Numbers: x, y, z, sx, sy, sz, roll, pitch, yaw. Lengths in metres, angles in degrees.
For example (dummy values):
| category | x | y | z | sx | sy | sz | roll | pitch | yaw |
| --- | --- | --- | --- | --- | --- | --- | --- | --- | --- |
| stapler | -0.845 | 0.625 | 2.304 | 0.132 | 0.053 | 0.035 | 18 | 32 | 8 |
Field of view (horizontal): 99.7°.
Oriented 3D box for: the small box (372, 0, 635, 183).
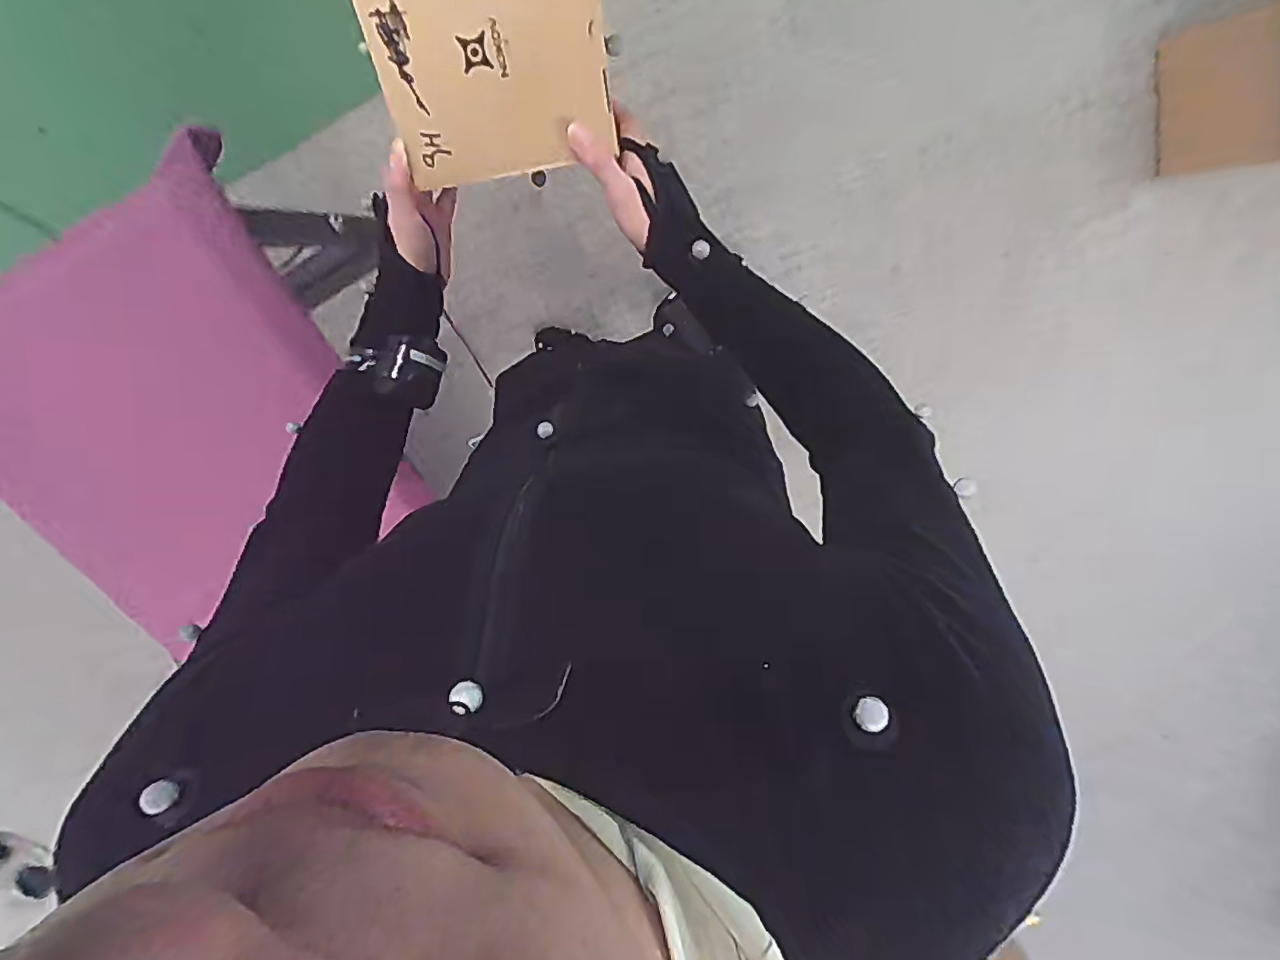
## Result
| category | x | y | z | sx | sy | sz | roll | pitch | yaw |
| --- | --- | --- | --- | --- | --- | --- | --- | --- | --- |
| small box | -0.104 | -0.366 | 0.466 | 0.179 | 0.176 | 0.168 | -8 | 122 | 2 |
